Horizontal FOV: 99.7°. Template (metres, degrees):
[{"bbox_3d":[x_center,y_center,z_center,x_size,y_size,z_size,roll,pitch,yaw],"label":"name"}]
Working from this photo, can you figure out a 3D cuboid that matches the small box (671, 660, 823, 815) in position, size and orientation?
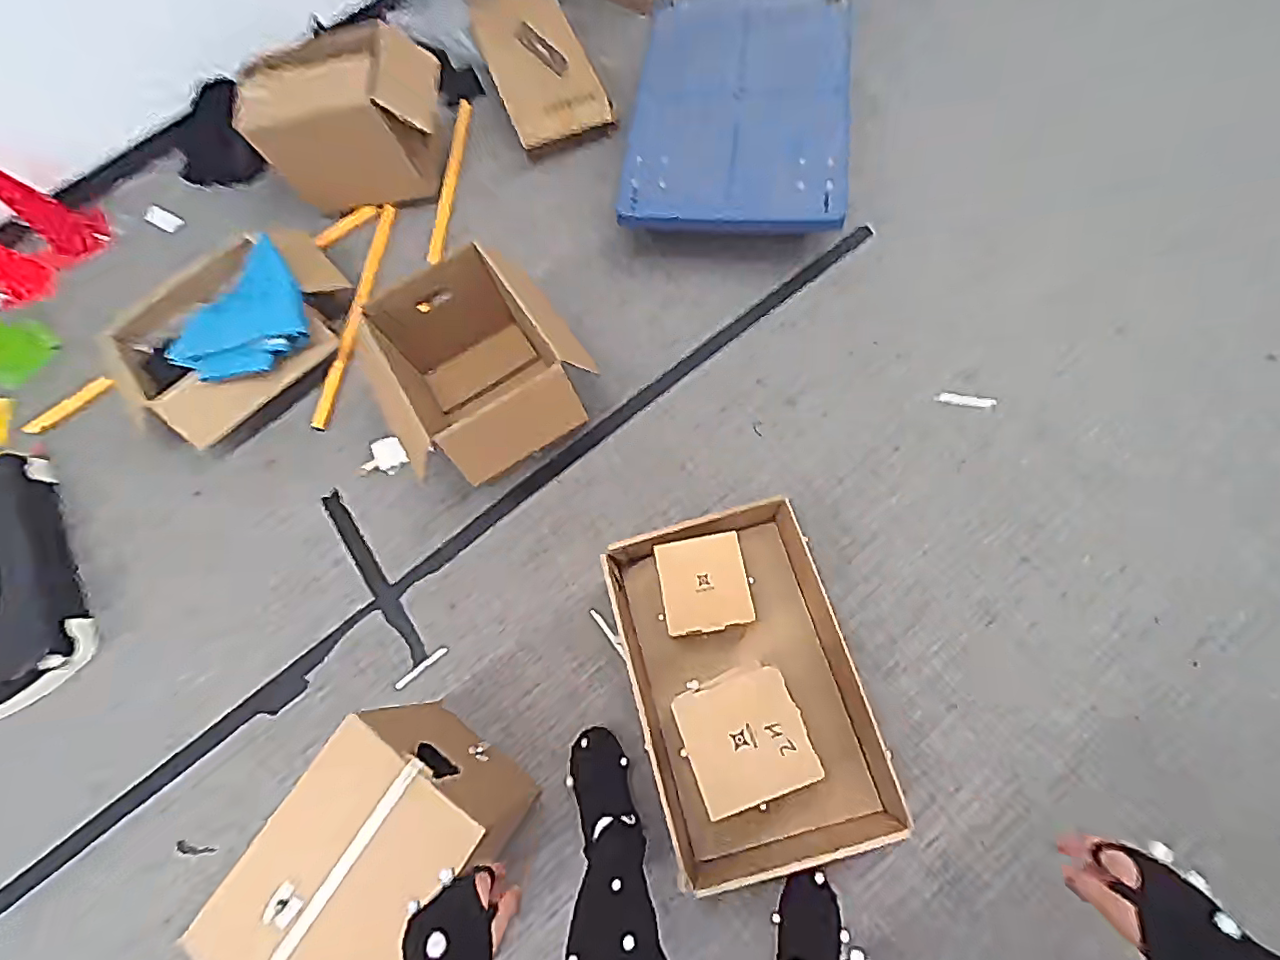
[{"bbox_3d":[0.162,0.400,0.857,0.179,0.176,0.168,-20,68,-1],"label":"small box"}]

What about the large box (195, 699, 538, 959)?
[{"bbox_3d":[-0.453,0.675,0.990,0.320,0.320,0.408,30,78,16],"label":"large box"}]
